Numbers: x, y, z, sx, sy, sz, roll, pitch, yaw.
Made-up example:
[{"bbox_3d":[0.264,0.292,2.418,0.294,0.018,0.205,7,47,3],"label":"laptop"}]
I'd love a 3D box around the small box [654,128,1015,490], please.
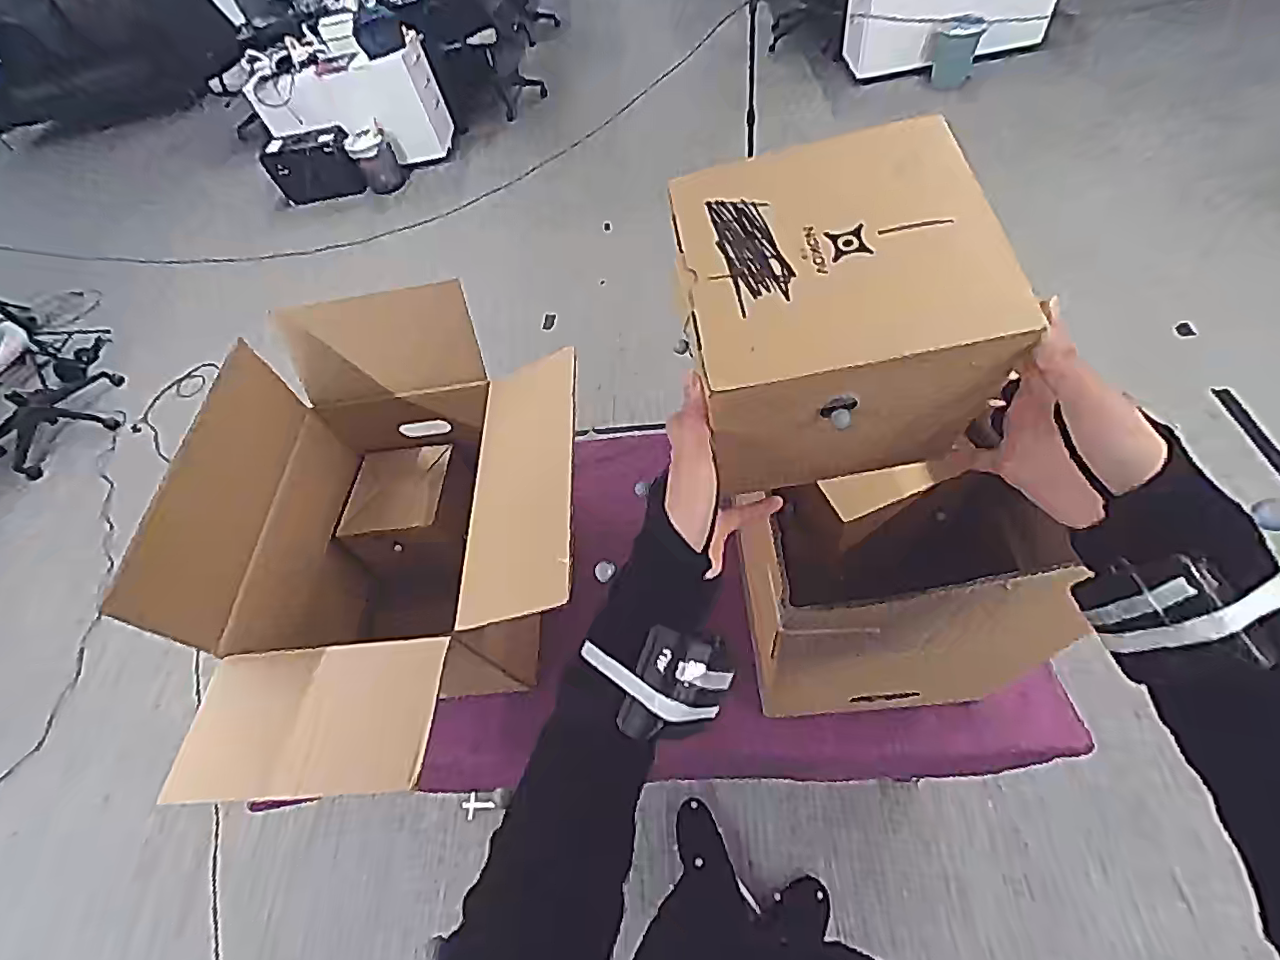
[{"bbox_3d":[0.118,-0.105,0.395,0.179,0.176,0.168,-11,67,6],"label":"small box"}]
